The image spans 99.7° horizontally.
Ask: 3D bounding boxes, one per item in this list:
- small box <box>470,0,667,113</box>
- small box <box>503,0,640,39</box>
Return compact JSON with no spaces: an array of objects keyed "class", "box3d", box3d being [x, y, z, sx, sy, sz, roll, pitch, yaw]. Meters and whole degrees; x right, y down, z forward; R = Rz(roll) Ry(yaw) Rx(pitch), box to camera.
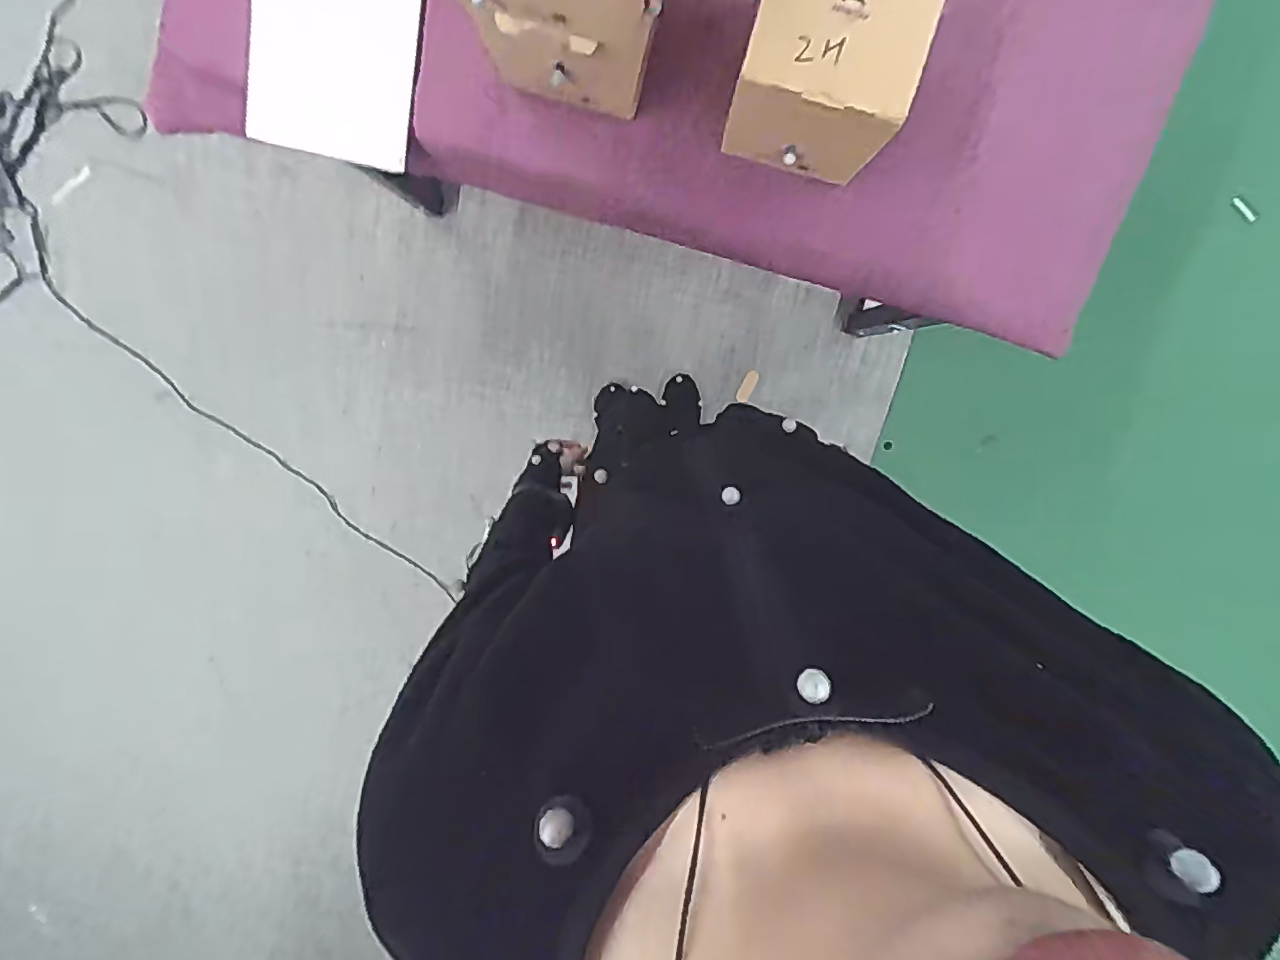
[{"class":"small box","box3d":[-0.061,-0.538,0.581,0.168,0.176,0.179,16,102,-2]},{"class":"small box","box3d":[-0.068,-0.501,0.420,0.168,0.176,0.179,16,100,-1]}]
